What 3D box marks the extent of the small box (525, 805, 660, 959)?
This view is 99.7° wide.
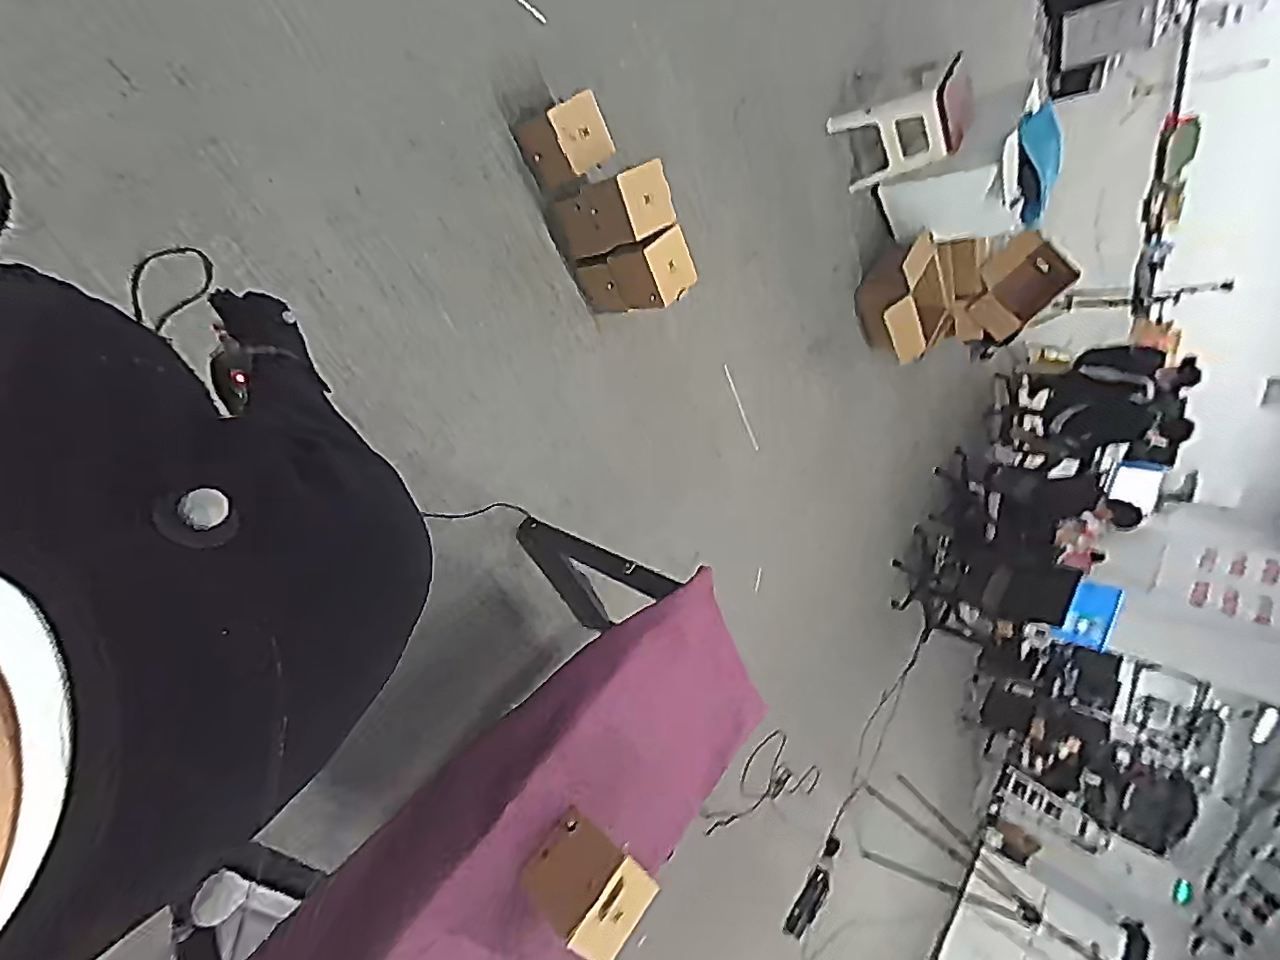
[{"bbox_3d":[-0.096,0.787,1.070,0.168,0.176,0.179,-45,128,-26],"label":"small box"}]
